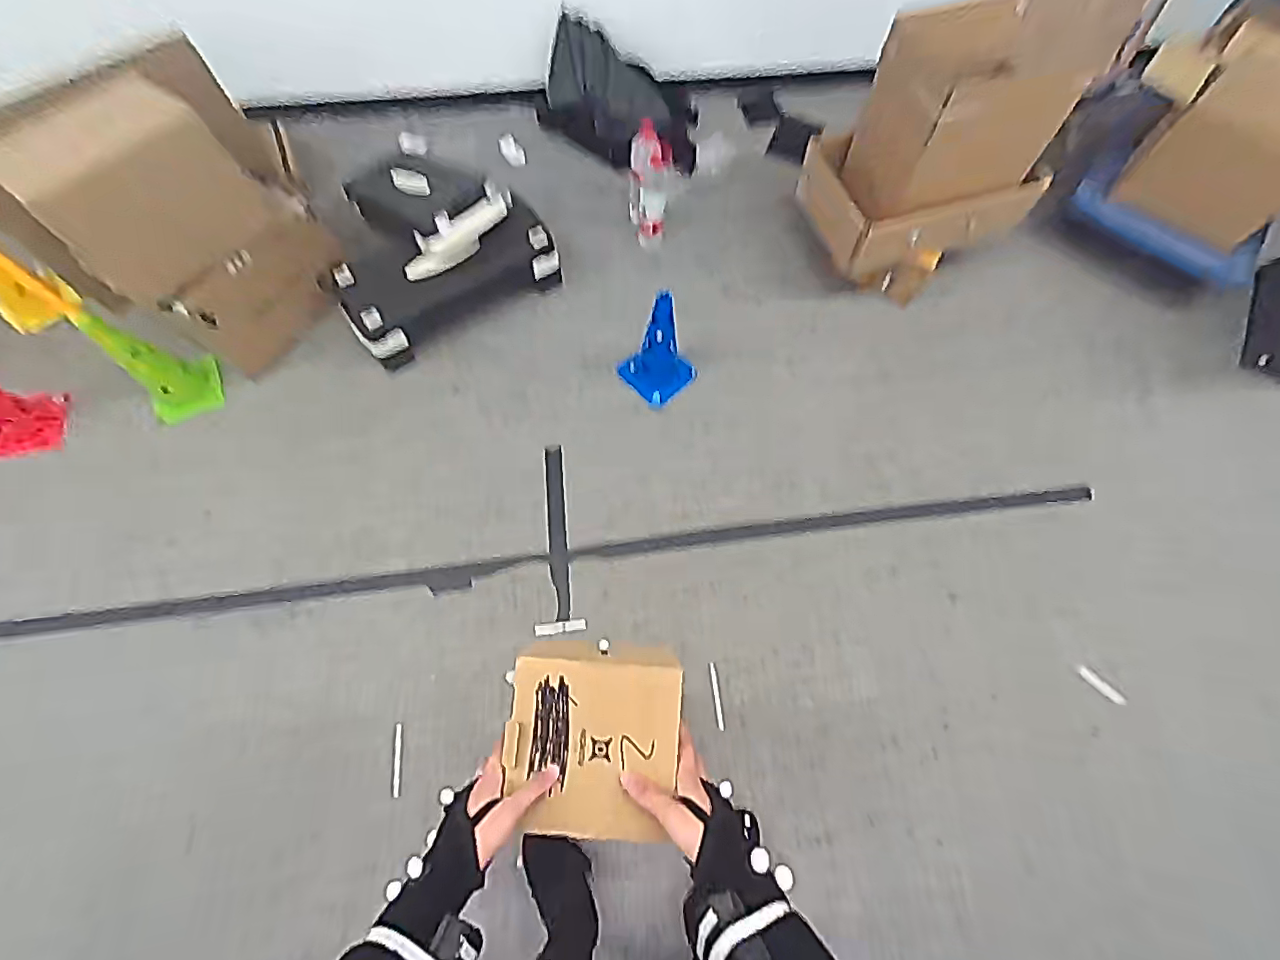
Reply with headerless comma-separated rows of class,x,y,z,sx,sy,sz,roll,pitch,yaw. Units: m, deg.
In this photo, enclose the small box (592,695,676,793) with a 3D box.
small box,-0.015,0.611,1.269,0.168,0.176,0.179,-9,68,-5
